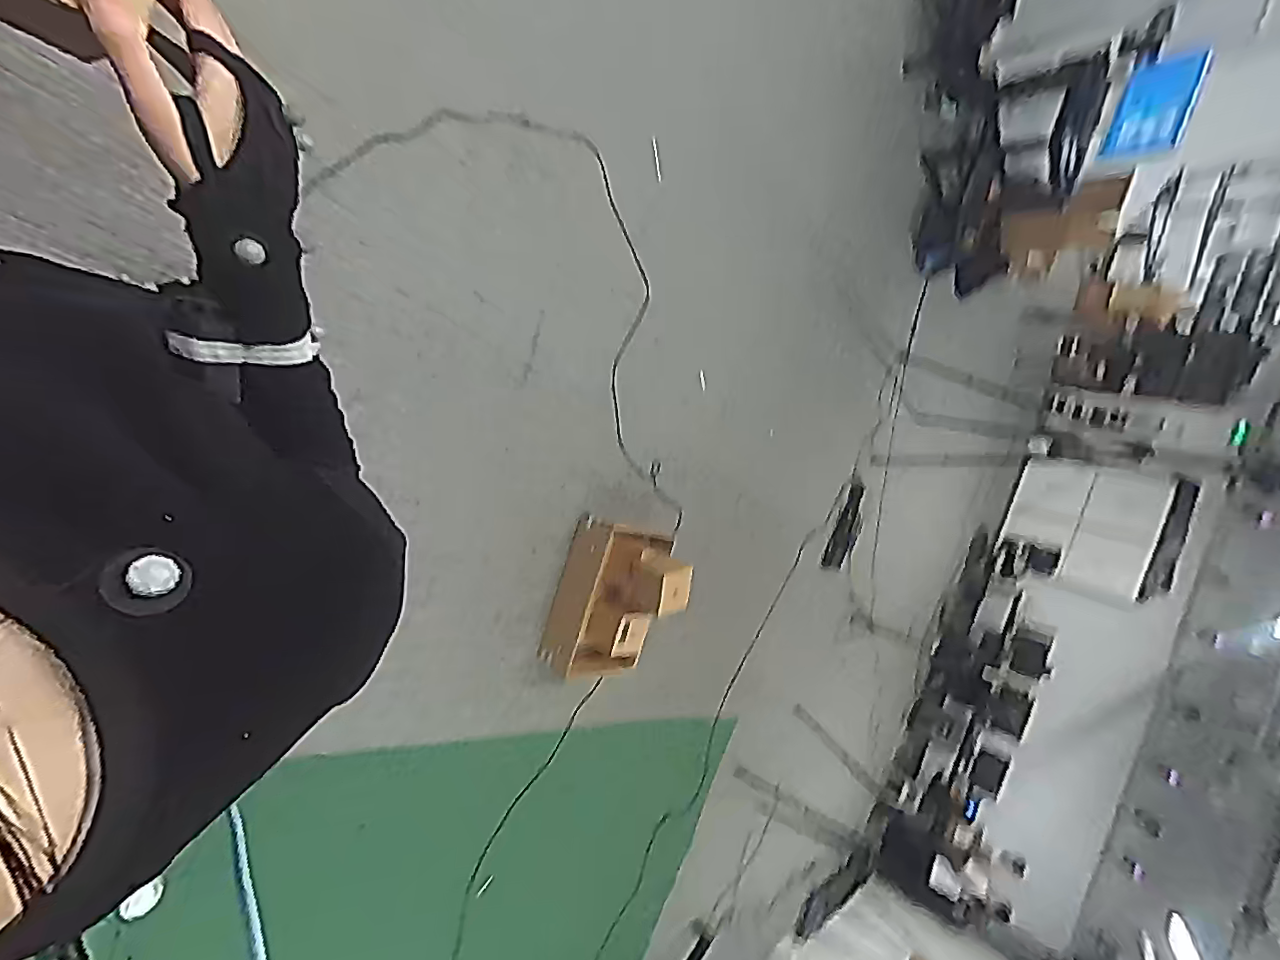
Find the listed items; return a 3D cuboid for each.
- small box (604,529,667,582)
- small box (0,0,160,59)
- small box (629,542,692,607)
[{"bbox_3d":[-0.021,0.313,2.226,0.168,0.176,0.179,15,96,-47],"label":"small box"},{"bbox_3d":[-0.332,-0.340,0.248,0.168,0.176,0.179,9,106,-55],"label":"small box"},{"bbox_3d":[0.076,0.363,2.105,0.168,0.176,0.179,-8,112,-43],"label":"small box"}]
